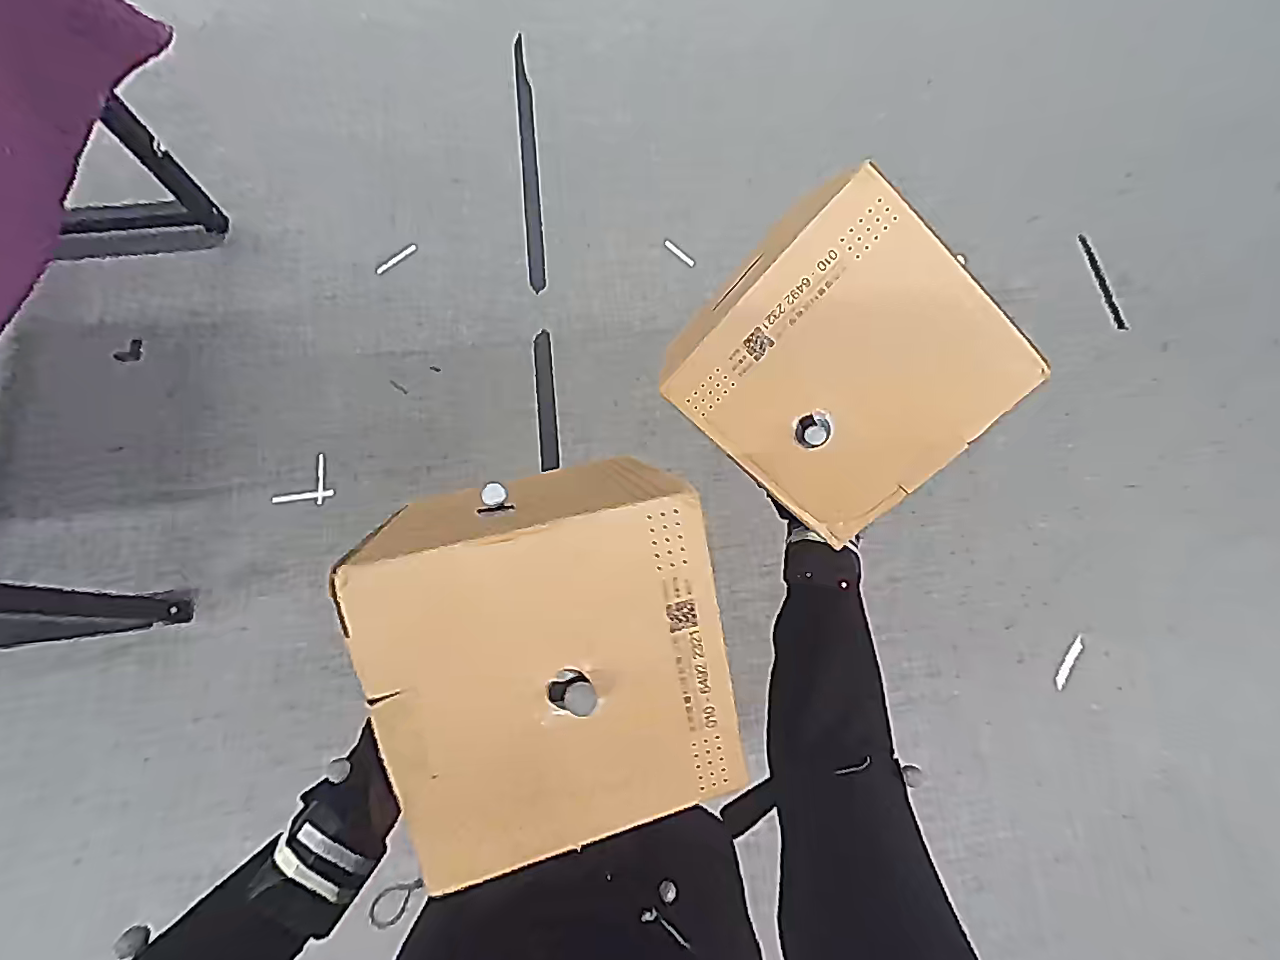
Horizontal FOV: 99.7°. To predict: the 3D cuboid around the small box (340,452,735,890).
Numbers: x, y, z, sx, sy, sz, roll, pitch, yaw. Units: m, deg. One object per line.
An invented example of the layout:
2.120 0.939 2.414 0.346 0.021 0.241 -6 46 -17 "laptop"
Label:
-0.050 0.082 0.329 0.176 0.179 0.168 -12 100 -13 "small box"
